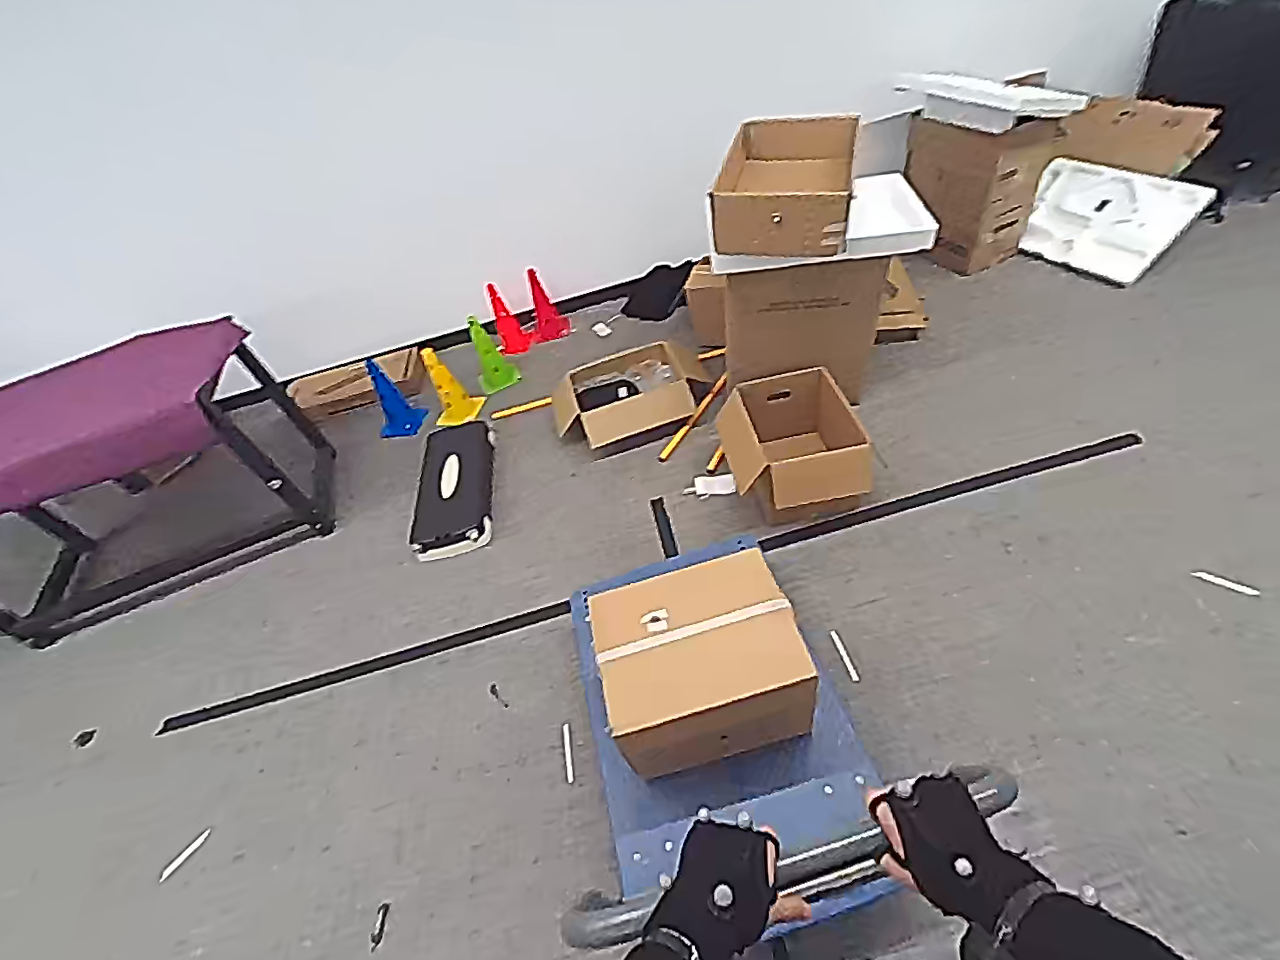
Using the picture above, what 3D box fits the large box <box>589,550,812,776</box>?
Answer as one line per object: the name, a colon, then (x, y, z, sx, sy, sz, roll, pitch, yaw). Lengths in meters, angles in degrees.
large box: (0.135, 0.418, 1.229, 0.408, 0.320, 0.320, -17, 45, -1)
